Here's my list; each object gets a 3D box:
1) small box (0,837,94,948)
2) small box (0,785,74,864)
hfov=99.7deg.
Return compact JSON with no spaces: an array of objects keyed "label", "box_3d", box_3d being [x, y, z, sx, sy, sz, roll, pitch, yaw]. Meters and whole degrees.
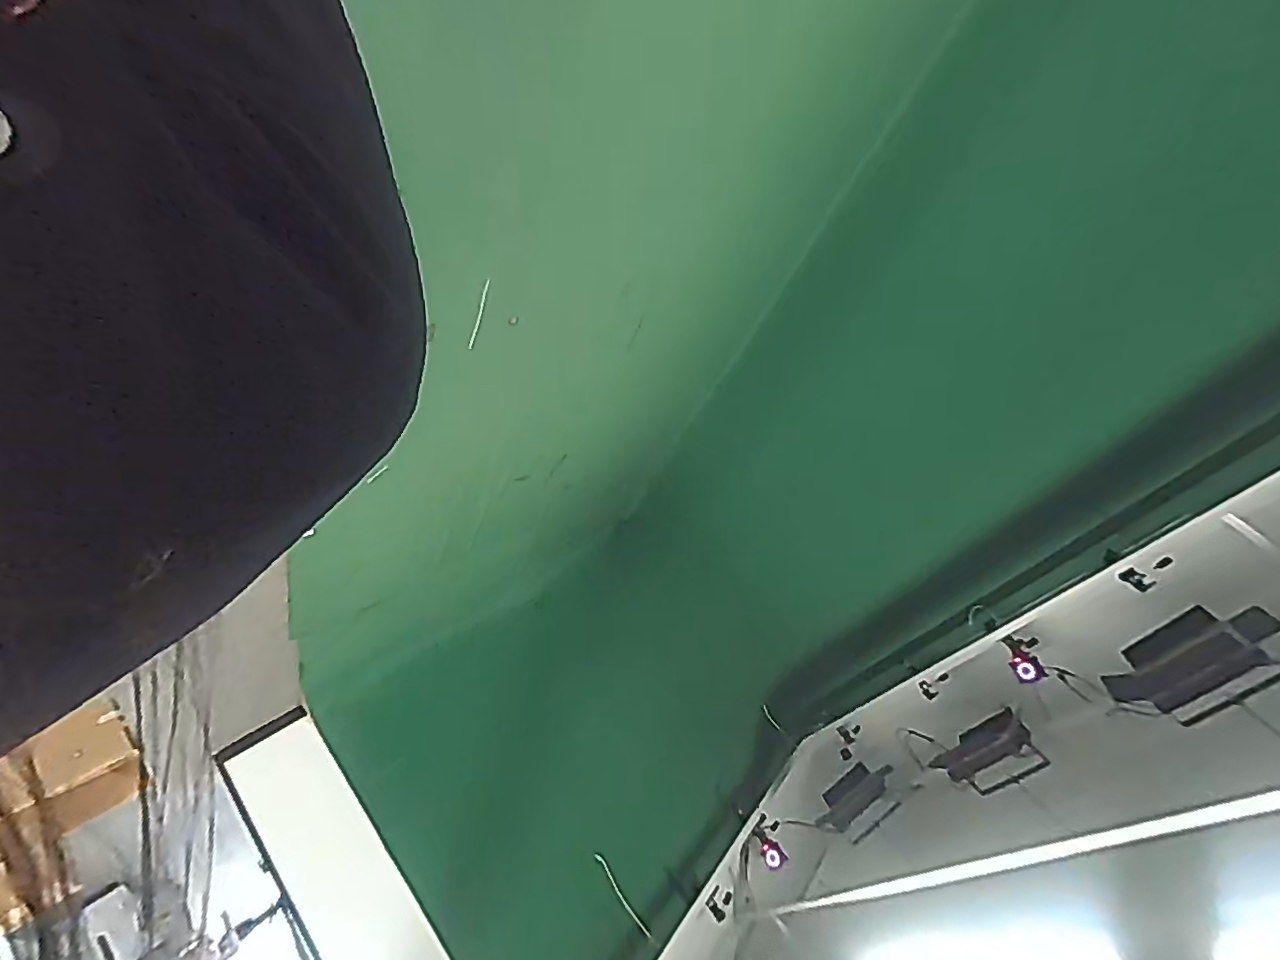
[{"label":"small box","box_3d":[-1.620,1.095,1.443,0.168,0.176,0.179,-29,158,-43]},{"label":"small box","box_3d":[-1.726,0.979,1.489,0.168,0.176,0.179,-29,158,-41]}]
